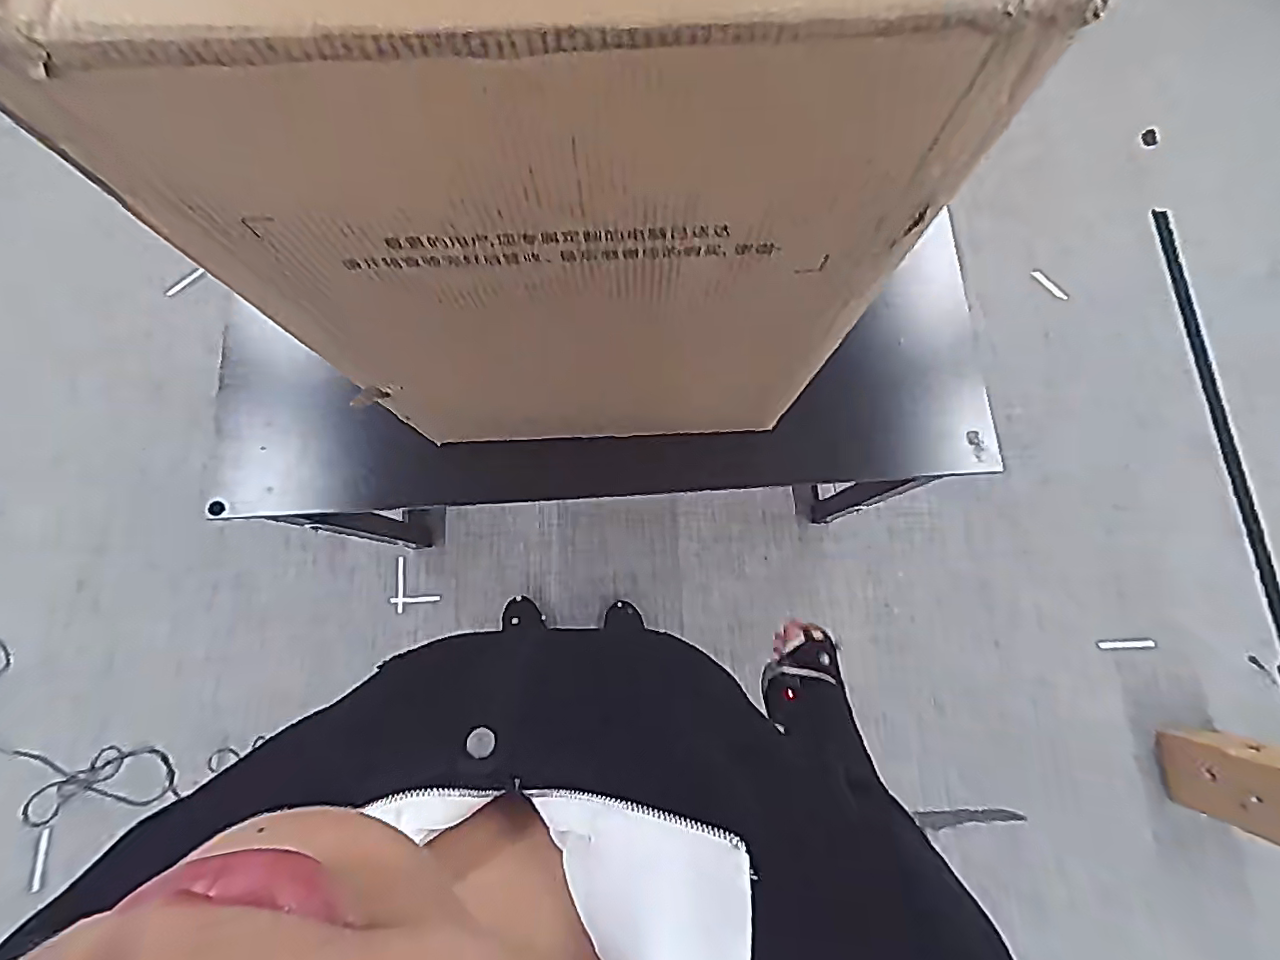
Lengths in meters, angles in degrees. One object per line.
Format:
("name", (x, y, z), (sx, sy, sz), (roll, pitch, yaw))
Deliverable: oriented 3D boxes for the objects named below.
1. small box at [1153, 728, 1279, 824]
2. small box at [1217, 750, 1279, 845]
("small box", (1.440, 0.729, 1.347), (0.168, 0.176, 0.179), (1, 79, 0))
("small box", (1.446, 0.703, 1.184), (0.179, 0.176, 0.168), (1, 78, 0))
